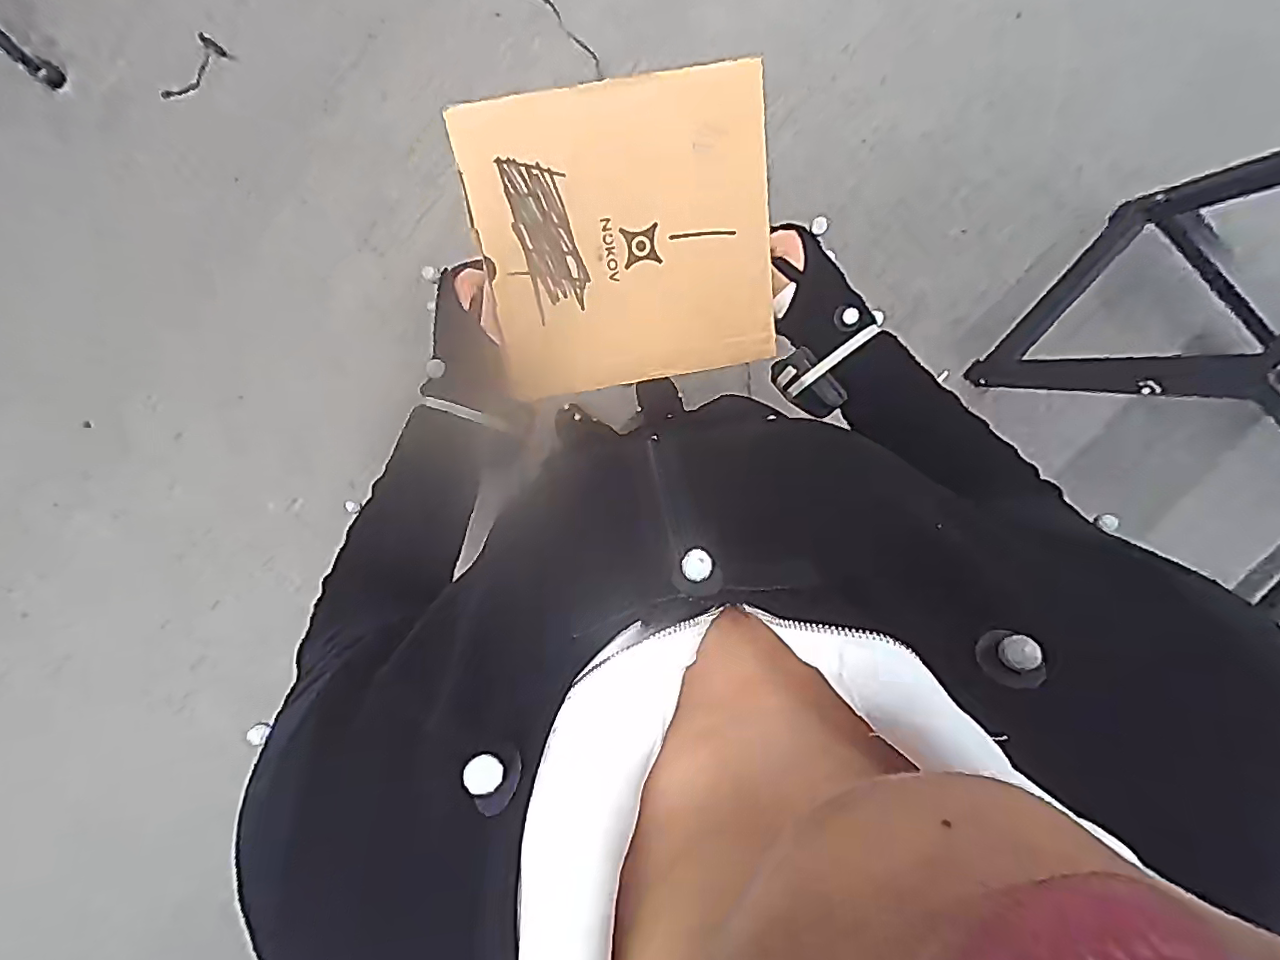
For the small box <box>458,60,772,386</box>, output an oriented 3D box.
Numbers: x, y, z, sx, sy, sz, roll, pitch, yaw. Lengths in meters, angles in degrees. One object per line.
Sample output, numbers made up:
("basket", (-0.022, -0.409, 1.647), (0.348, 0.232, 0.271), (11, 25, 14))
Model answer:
("small box", (-0.012, -0.180, 0.404), (0.179, 0.176, 0.168), (-9, 115, -1))
